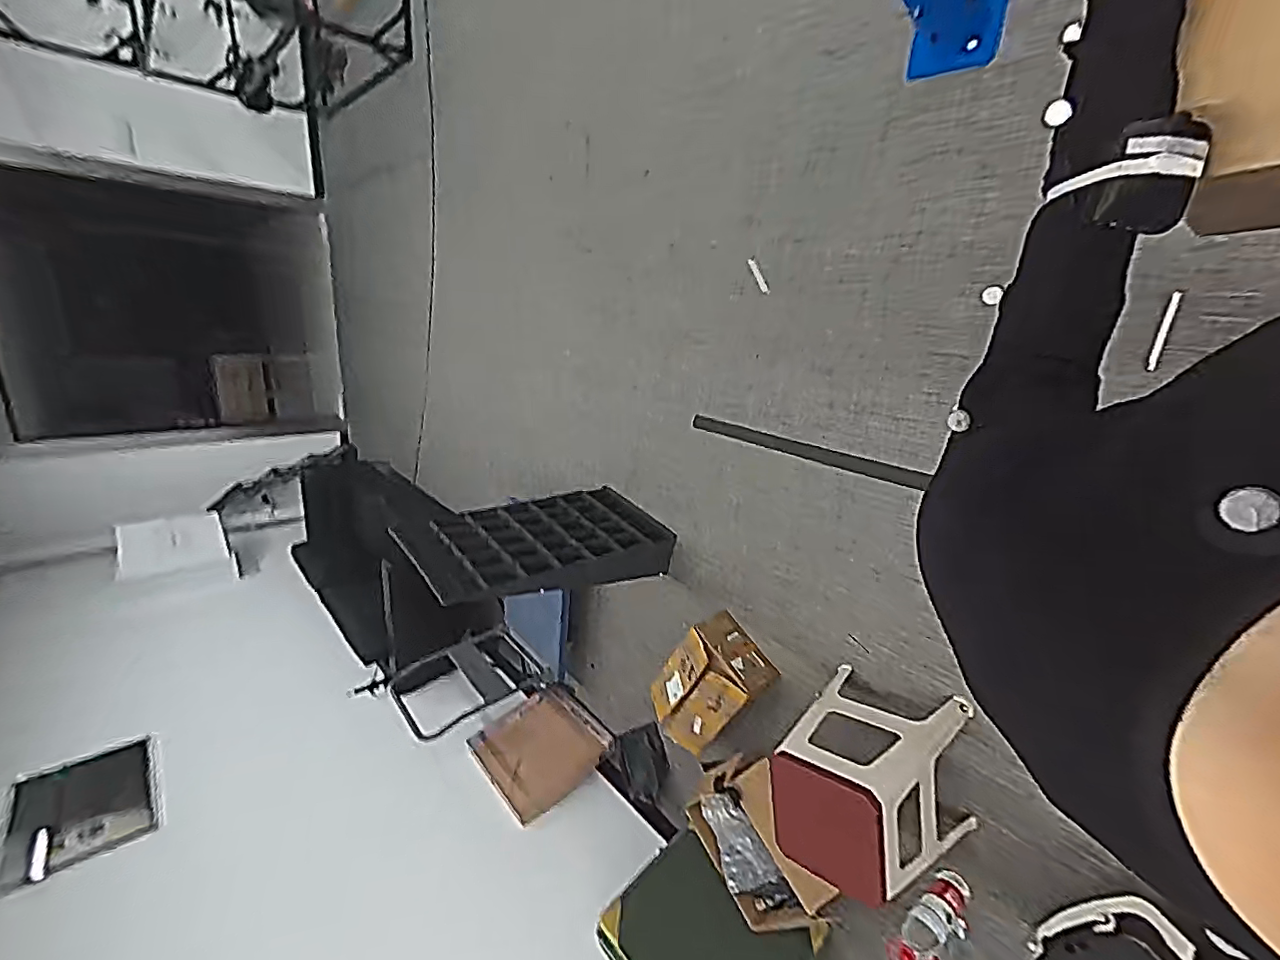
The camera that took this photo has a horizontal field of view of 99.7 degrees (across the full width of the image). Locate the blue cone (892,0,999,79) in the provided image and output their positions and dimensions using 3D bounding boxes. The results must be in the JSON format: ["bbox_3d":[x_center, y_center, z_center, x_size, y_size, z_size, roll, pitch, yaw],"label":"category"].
[{"bbox_3d":[0.604,-1.038,1.156,0.192,0.380,0.193,27,118,44],"label":"blue cone"}]

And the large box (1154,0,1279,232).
[{"bbox_3d":[0.623,-0.365,0.321,0.408,0.320,0.320,15,110,48],"label":"large box"}]
